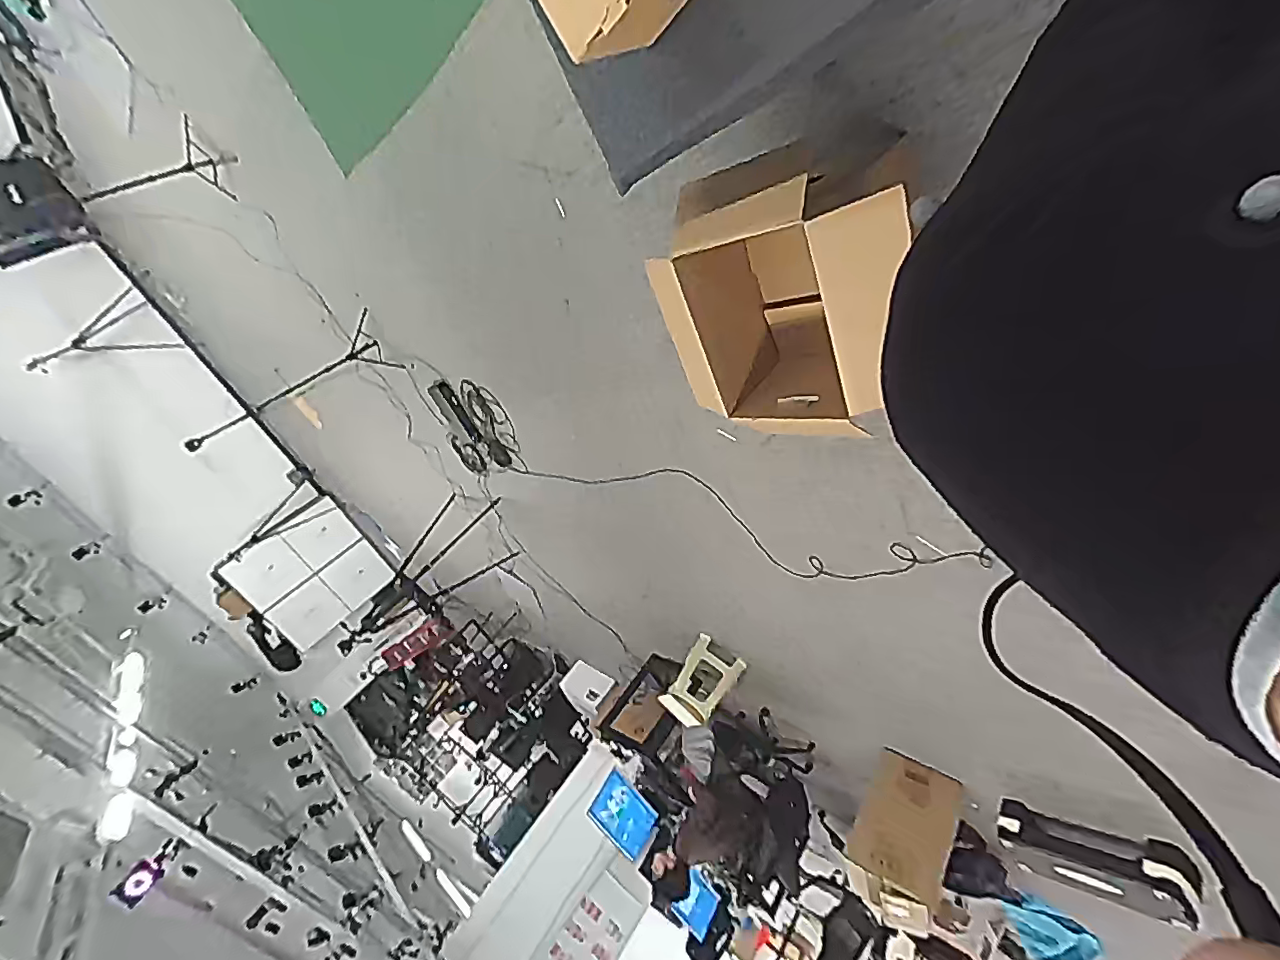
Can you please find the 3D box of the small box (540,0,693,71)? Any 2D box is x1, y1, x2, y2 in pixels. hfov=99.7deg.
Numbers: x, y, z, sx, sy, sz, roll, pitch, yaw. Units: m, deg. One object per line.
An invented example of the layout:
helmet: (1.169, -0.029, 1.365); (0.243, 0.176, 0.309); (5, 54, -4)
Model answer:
small box: (-0.024, -0.651, 0.653); (0.168, 0.176, 0.179); (-12, 115, 52)
